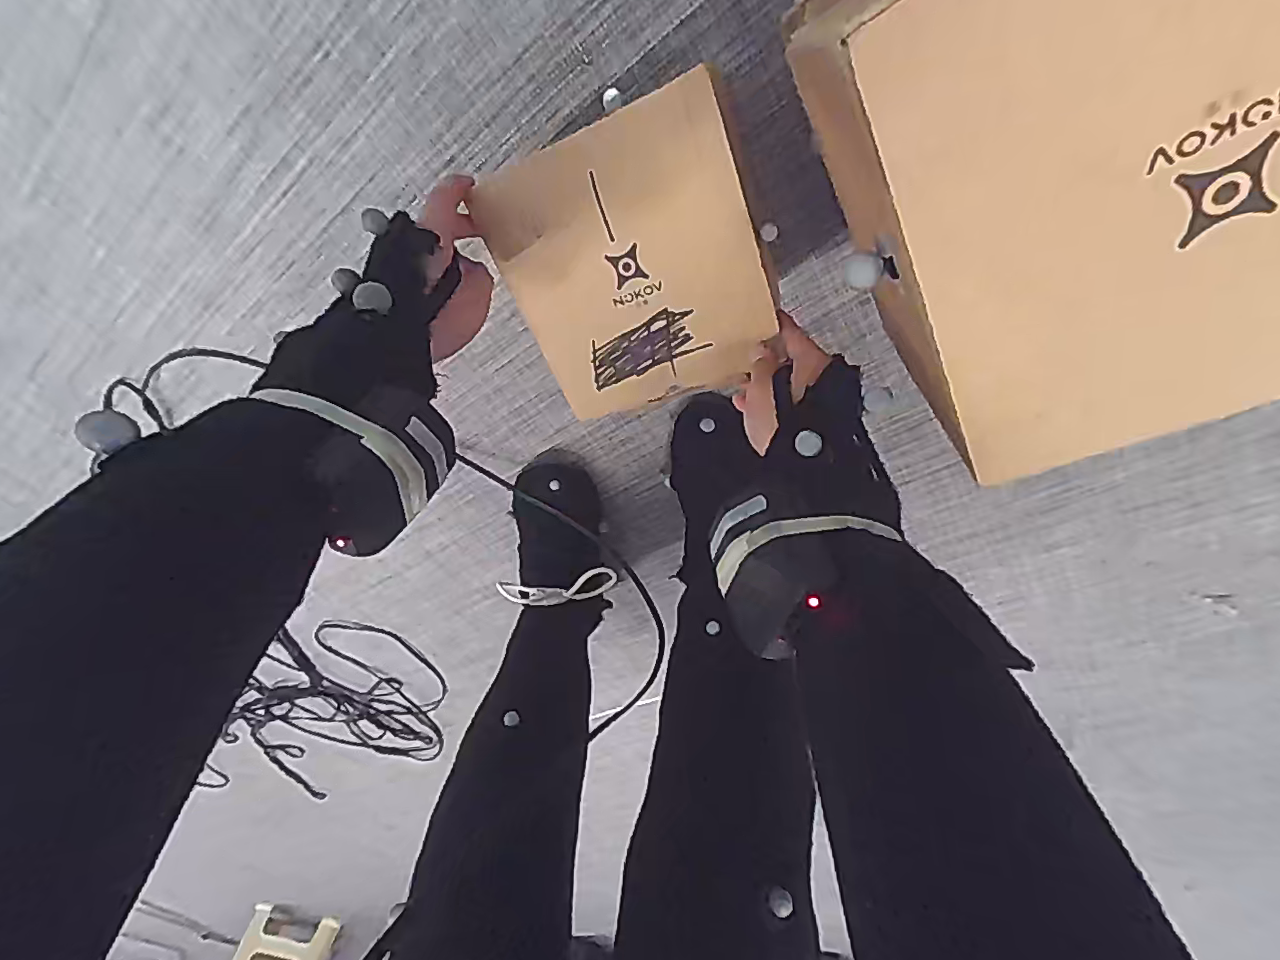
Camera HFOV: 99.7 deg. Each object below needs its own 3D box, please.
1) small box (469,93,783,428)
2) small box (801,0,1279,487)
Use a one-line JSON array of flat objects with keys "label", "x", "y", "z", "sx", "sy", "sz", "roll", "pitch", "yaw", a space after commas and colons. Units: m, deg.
[{"label": "small box", "x": 0.009, "y": -0.171, "z": 0.422, "sx": 0.168, "sy": 0.176, "sz": 0.179, "roll": -14, "pitch": 121, "yaw": 20}, {"label": "small box", "x": 0.180, "y": -0.132, "z": 0.223, "sx": 0.168, "sy": 0.176, "sz": 0.179, "roll": -22, "pitch": 120, "yaw": 24}]
